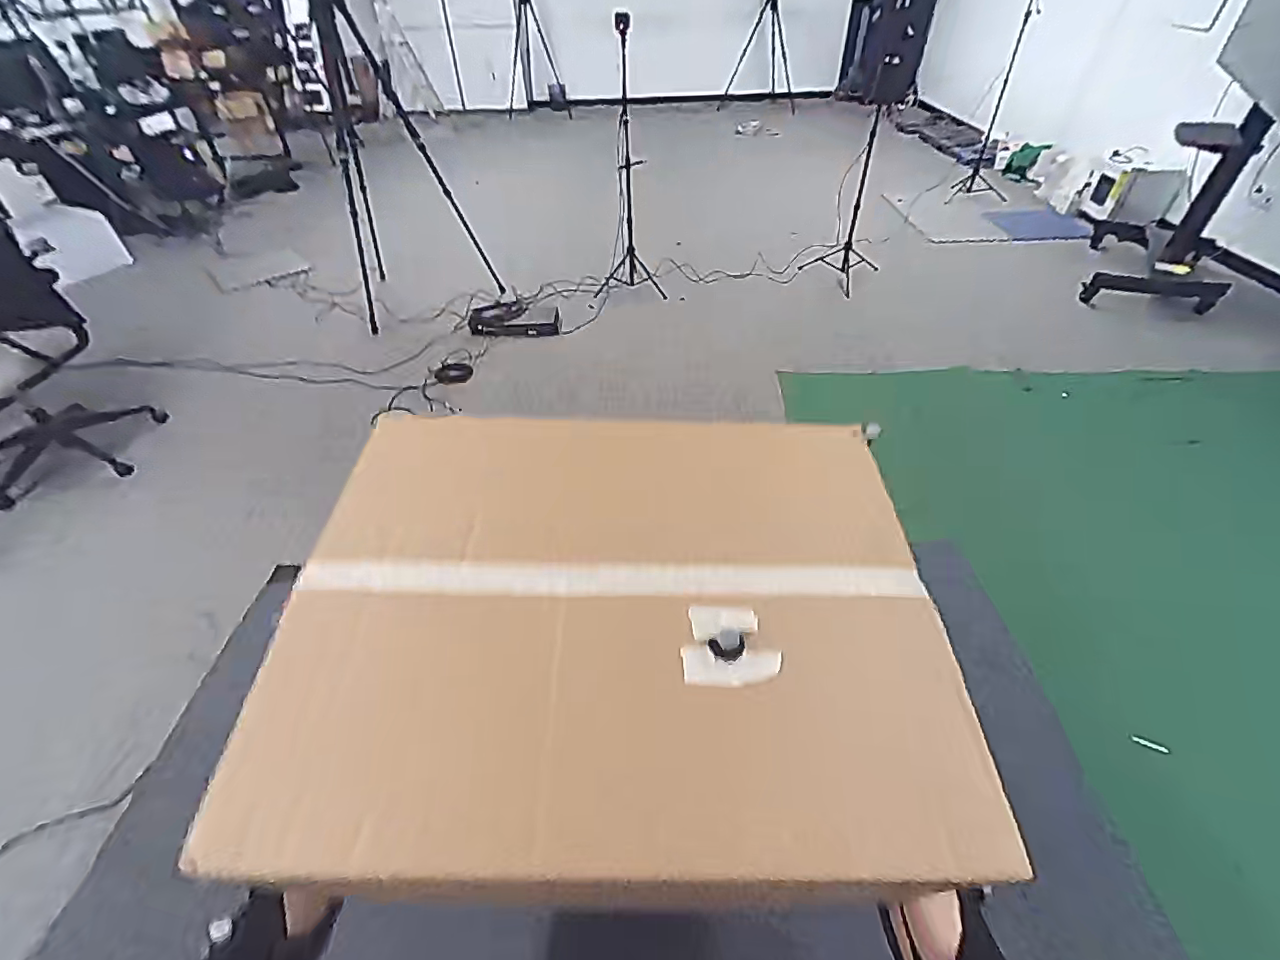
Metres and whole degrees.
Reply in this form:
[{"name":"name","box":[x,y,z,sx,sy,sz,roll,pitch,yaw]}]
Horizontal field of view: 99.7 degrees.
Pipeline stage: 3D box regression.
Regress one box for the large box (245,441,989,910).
[{"name":"large box","box":[-0.016,0.178,0.492,0.408,0.320,0.320,1,49,-2]}]
